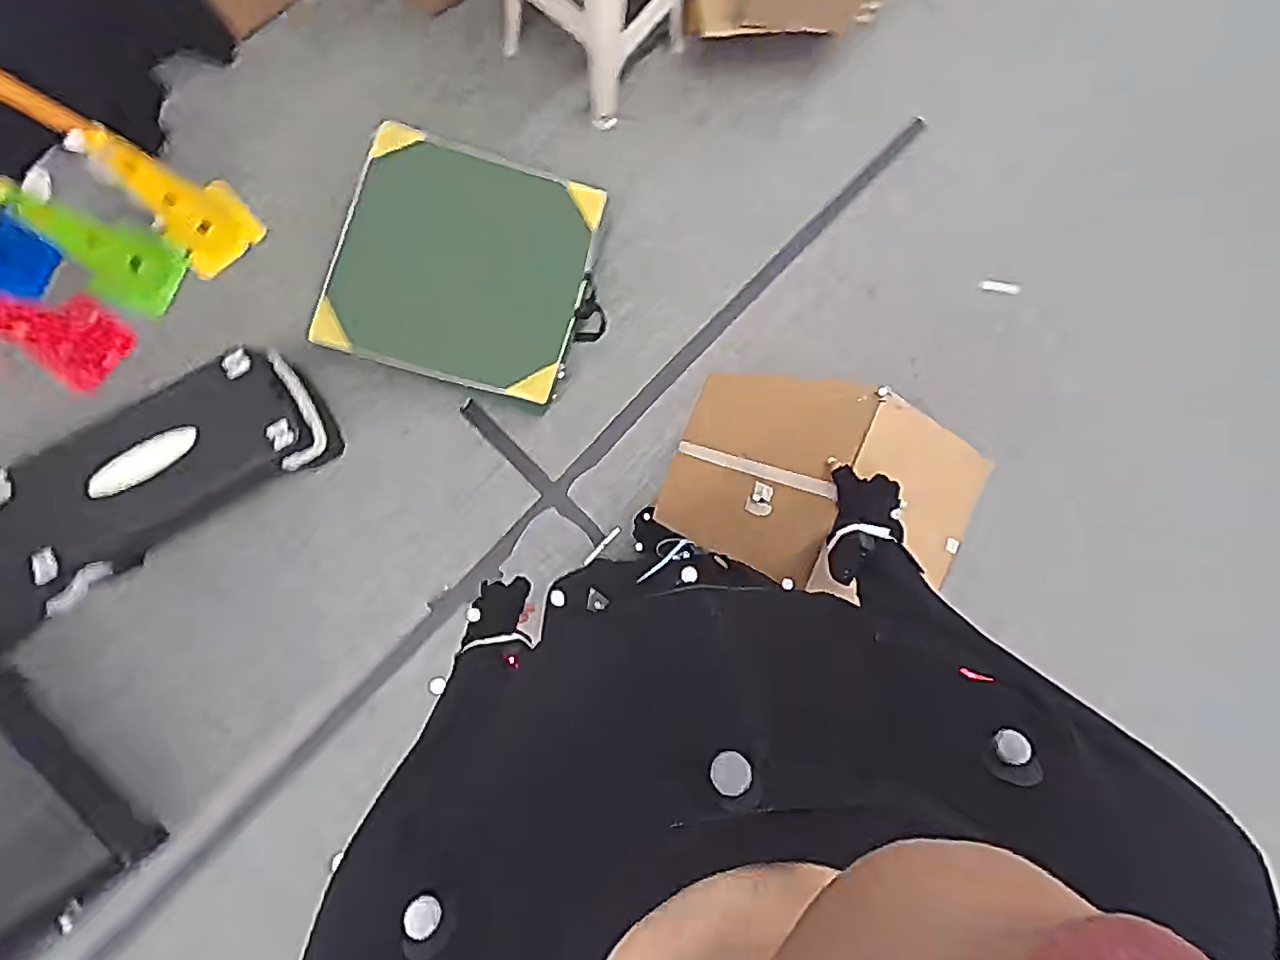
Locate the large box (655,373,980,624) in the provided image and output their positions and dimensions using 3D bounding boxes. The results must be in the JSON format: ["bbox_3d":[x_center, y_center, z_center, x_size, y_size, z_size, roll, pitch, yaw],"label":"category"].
[{"bbox_3d":[0.298,0.018,0.986,0.320,0.408,0.320,19,94,-33],"label":"large box"}]
